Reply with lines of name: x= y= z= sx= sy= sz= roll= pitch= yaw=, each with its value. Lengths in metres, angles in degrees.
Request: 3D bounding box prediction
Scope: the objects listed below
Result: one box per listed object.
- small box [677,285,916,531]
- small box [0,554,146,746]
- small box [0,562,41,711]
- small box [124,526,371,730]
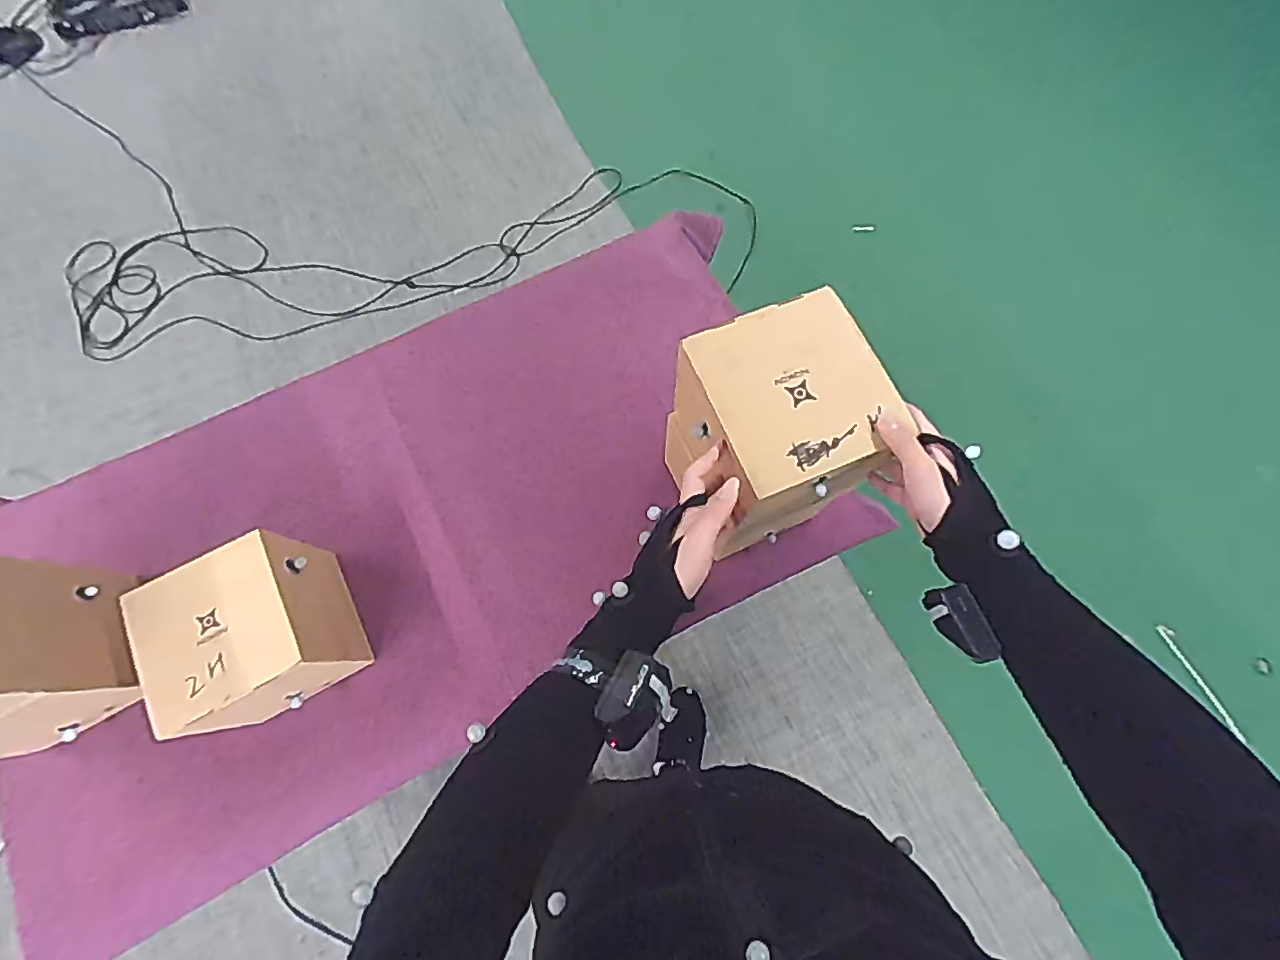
small box: x=0.145 y=-0.066 z=0.579 sx=0.168 sy=0.176 sz=0.179 roll=-22 pitch=74 yaw=-5
small box: x=-0.758 y=0.218 z=0.678 sx=0.168 sy=0.176 sz=0.179 roll=-29 pitch=75 yaw=-8
small box: x=-0.760 y=0.169 z=0.522 sx=0.168 sy=0.176 sz=0.179 roll=-29 pitch=75 yaw=-7
small box: x=-0.480 y=0.185 z=0.684 sx=0.168 sy=0.176 sz=0.179 roll=-28 pitch=75 yaw=-7
